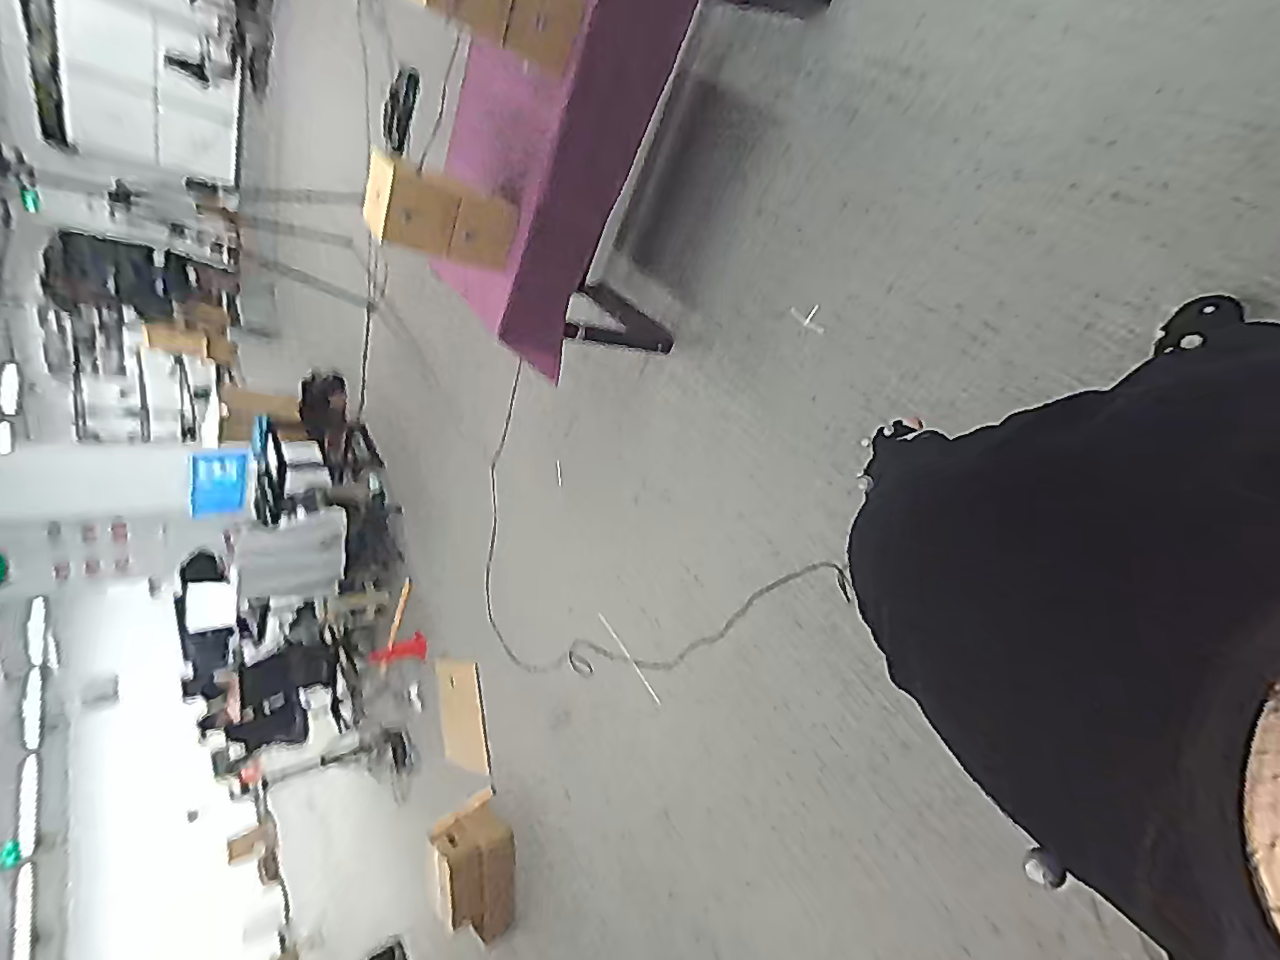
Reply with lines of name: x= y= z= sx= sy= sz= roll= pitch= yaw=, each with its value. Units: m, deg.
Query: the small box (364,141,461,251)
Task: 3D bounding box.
small box: x=-0.570 y=-0.708 z=1.363 sx=0.168 sy=0.176 sz=0.179 roll=50 pitch=127 yaw=32

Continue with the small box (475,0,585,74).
small box: x=-0.247 y=-1.079 z=1.233 sx=0.168 sy=0.176 sz=0.179 roll=50 pitch=127 yaw=32

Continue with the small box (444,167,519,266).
small box: x=-0.454 y=-0.712 z=1.477 sx=0.168 sy=0.176 sz=0.179 roll=50 pitch=126 yaw=31
